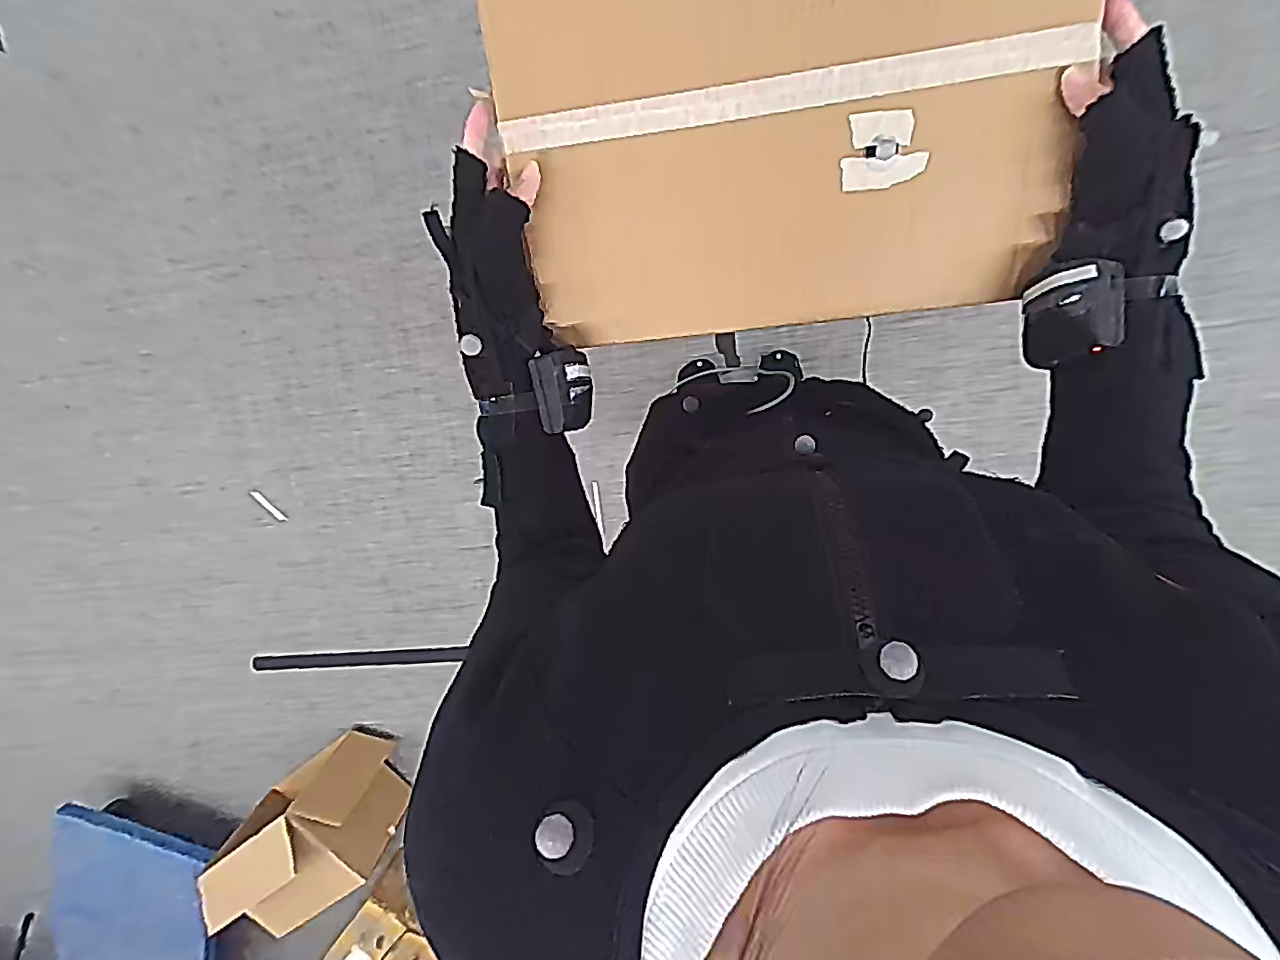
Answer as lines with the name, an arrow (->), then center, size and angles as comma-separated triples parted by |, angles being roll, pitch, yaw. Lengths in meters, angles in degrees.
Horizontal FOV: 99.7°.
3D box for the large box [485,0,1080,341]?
large box -> 0.106, -0.333, 0.526 | 0.408, 0.320, 0.320 | -6, 111, 5
